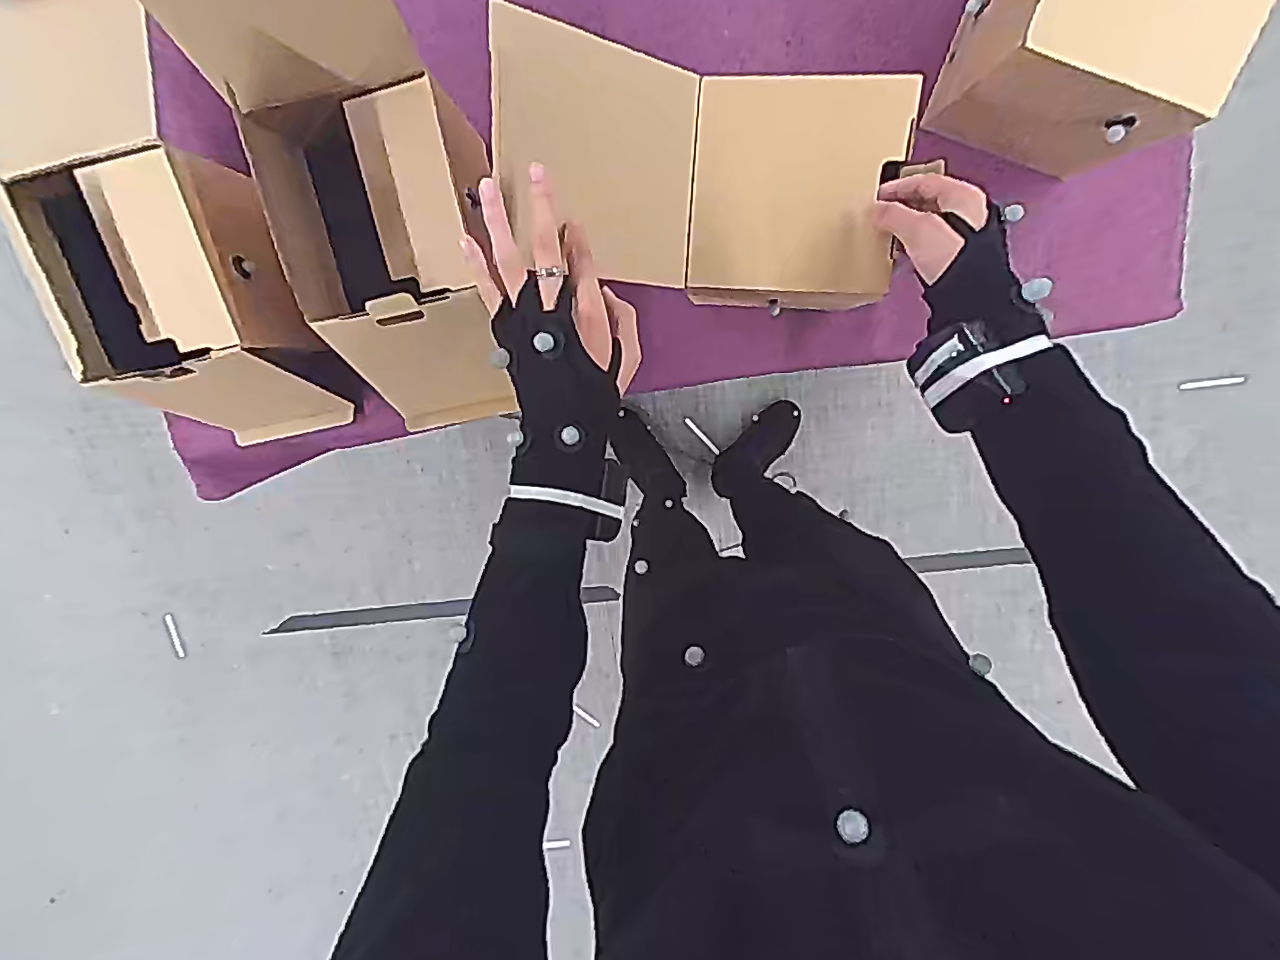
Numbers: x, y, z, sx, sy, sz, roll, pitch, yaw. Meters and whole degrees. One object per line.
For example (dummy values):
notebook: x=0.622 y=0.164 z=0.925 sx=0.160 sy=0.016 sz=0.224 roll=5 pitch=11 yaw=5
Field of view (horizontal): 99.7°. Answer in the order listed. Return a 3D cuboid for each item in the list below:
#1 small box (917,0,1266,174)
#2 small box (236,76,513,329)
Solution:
small box: x=0.398 y=-0.405 z=0.490 sx=0.179 sy=0.176 sz=0.168 roll=18 pitch=104 yaw=-3
small box: x=-0.240 y=-0.254 z=0.541 sx=0.168 sy=0.176 sz=0.179 roll=-10 pitch=103 yaw=3
